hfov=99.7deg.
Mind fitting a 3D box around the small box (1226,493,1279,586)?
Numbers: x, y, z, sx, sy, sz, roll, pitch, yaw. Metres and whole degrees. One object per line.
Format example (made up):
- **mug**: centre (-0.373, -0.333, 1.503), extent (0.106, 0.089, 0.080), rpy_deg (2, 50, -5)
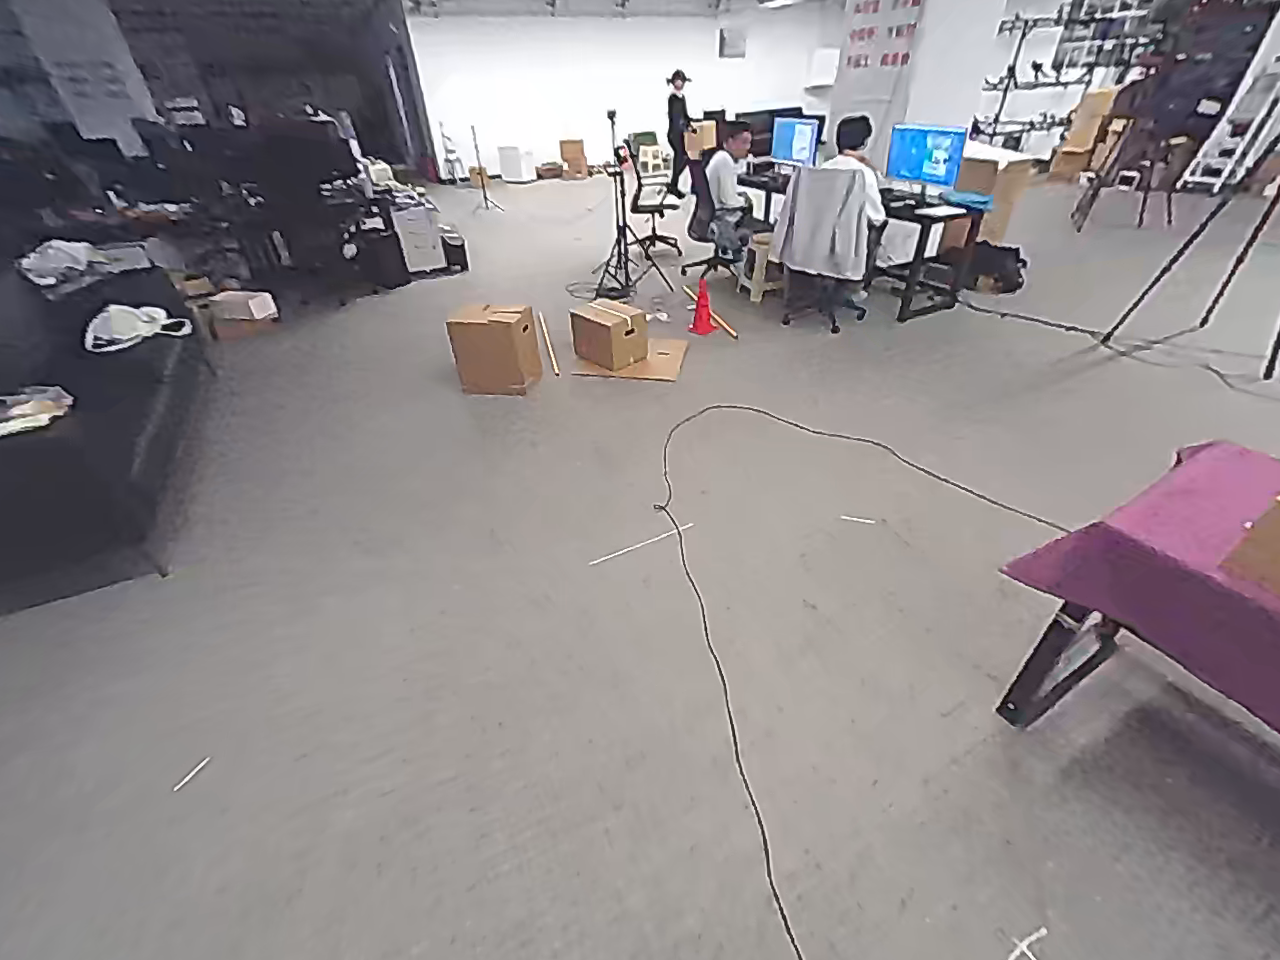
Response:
- **small box**: centre (1.236, 0.109, 0.964), extent (0.168, 0.176, 0.179), rpy_deg (-19, 39, -21)
